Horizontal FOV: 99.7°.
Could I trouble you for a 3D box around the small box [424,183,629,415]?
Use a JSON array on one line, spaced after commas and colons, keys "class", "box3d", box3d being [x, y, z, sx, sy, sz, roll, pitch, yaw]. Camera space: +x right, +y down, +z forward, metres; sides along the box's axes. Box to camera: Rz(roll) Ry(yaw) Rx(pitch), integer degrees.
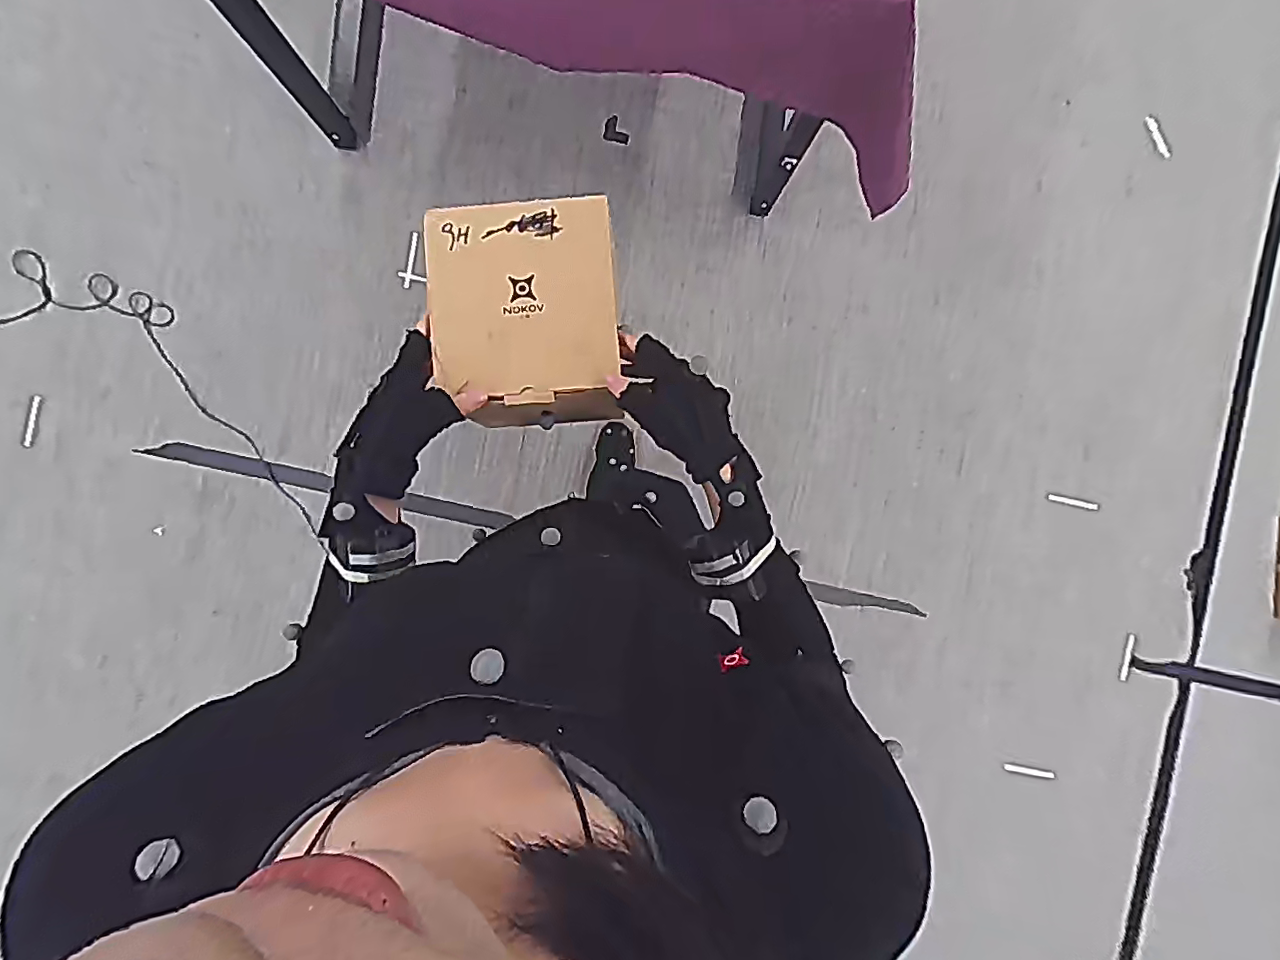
[{"class": "small box", "box3d": [-0.099, -0.163, 0.544, 0.168, 0.176, 0.179, -5, 89, 0]}]
